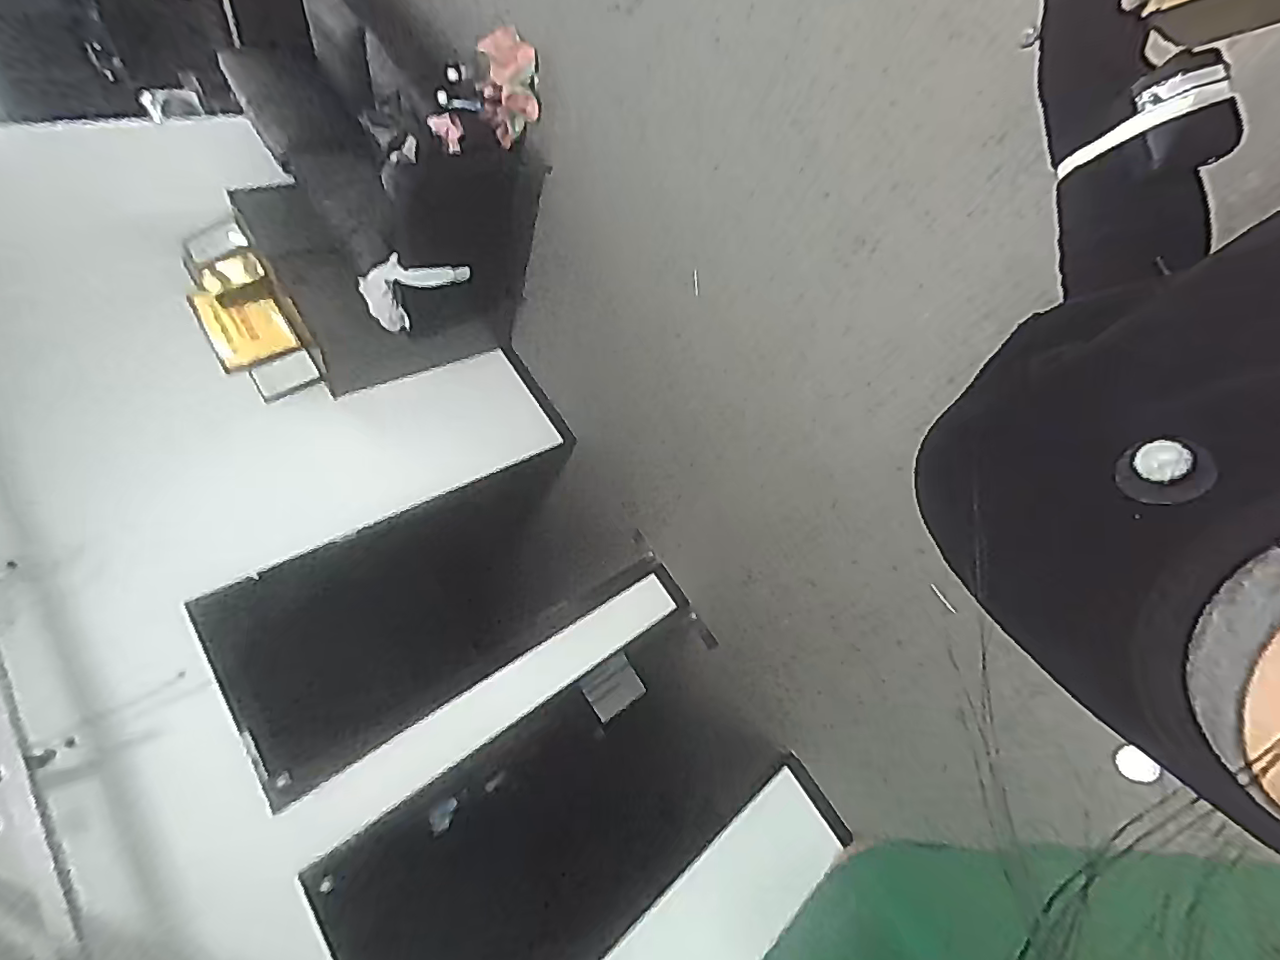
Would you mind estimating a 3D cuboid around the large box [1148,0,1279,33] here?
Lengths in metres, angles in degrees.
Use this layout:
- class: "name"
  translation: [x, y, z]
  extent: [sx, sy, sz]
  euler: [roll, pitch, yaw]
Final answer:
- class: "large box"
  translation: [0.542, -0.483, 0.246]
  extent: [0.408, 0.320, 0.320]
  euler: [11, 122, 45]
